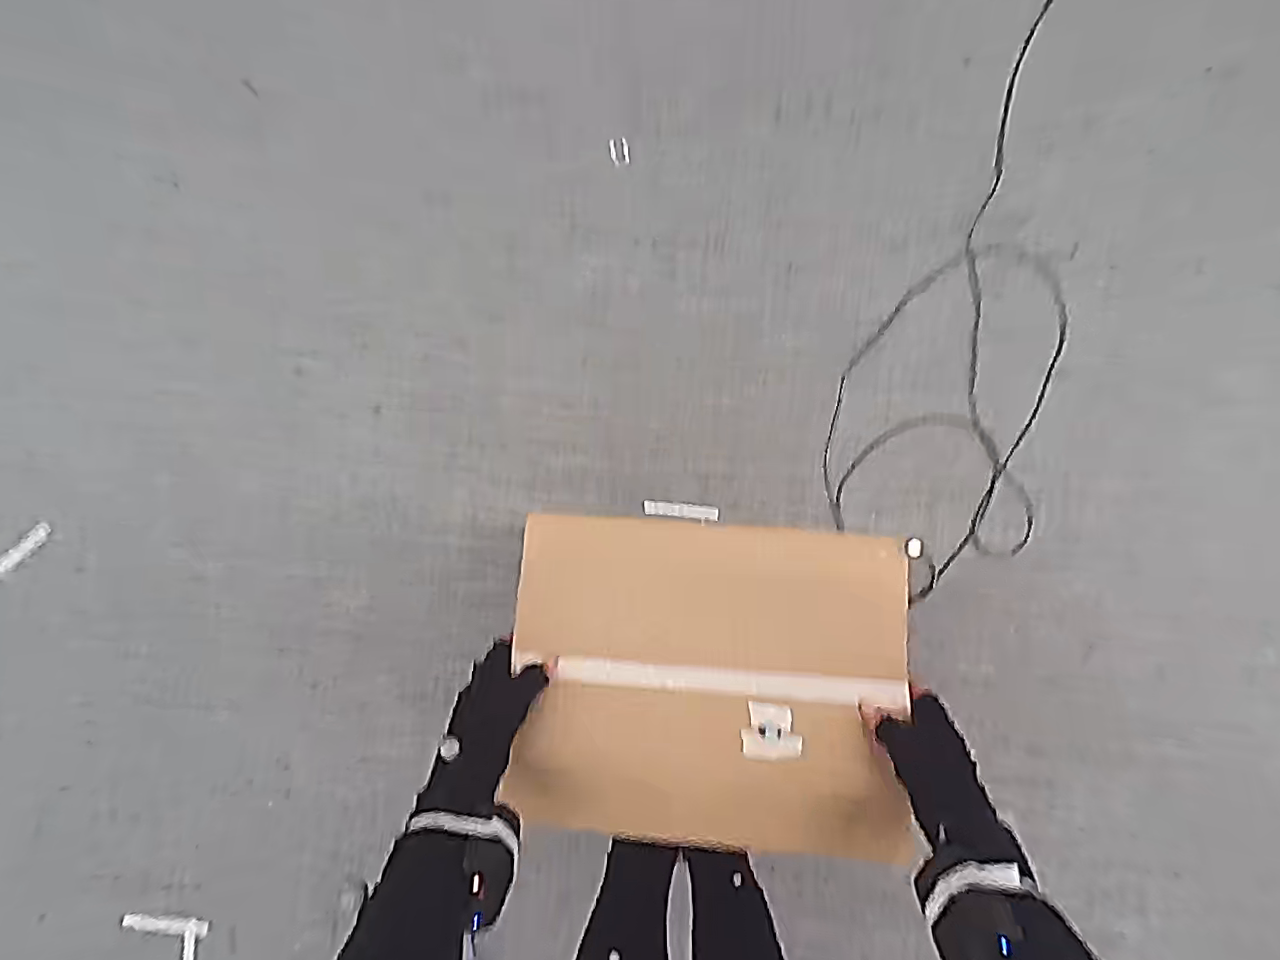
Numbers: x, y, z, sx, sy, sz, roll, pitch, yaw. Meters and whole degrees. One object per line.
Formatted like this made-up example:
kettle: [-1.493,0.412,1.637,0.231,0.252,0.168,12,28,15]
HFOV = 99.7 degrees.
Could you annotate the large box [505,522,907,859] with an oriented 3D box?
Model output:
large box: [0.074,0.235,0.703,0.408,0.320,0.320,4,80,3]
